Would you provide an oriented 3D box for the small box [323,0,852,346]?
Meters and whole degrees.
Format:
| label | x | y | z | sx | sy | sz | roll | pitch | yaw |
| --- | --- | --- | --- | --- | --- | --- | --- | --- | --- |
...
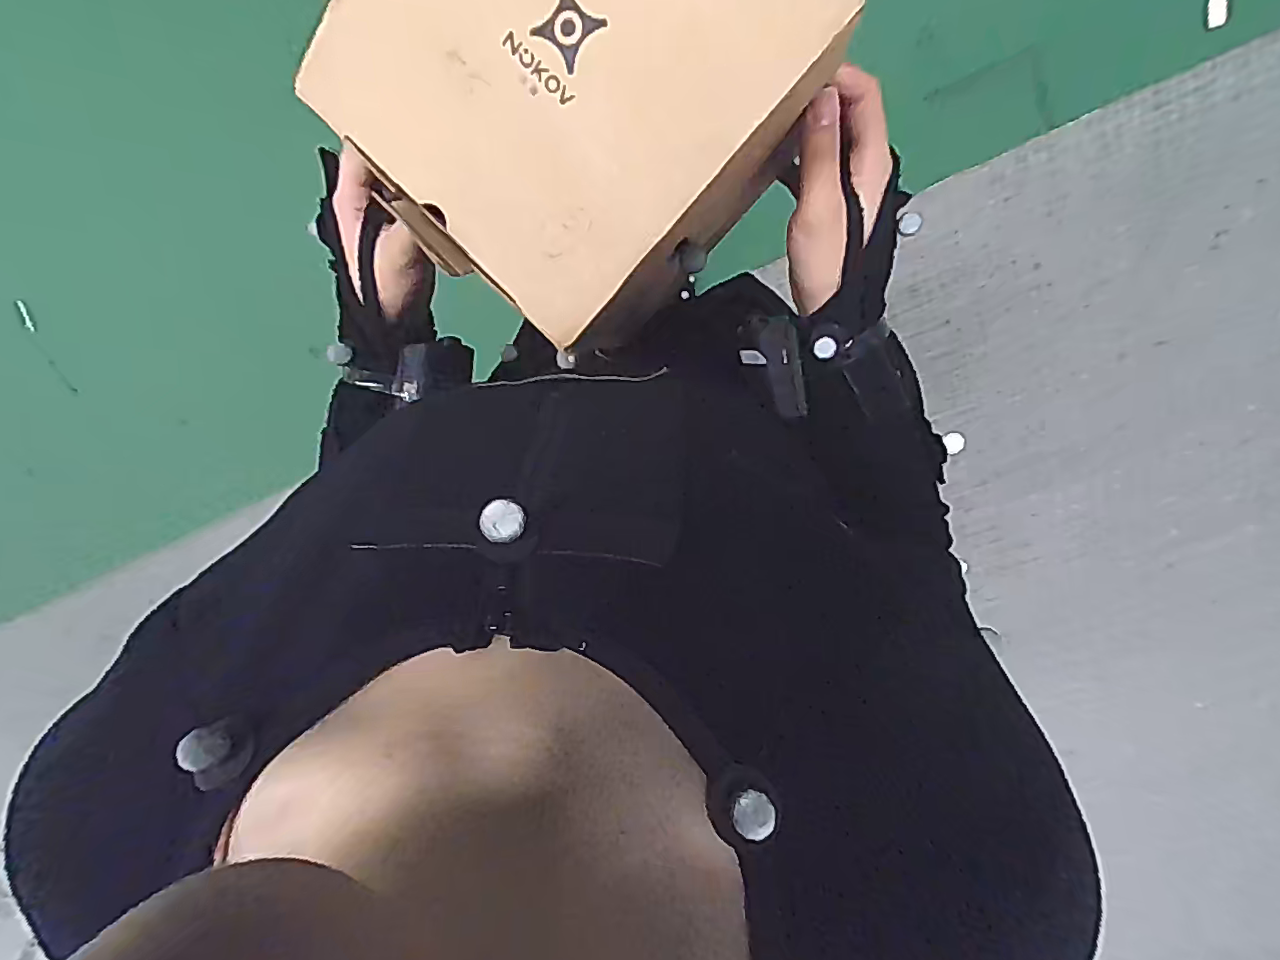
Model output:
| label | x | y | z | sx | sy | sz | roll | pitch | yaw |
| --- | --- | --- | --- | --- | --- | --- | --- | --- | --- |
| small box | -0.018 | -0.197 | 0.302 | 0.168 | 0.176 | 0.179 | 44 | 108 | -5 |
